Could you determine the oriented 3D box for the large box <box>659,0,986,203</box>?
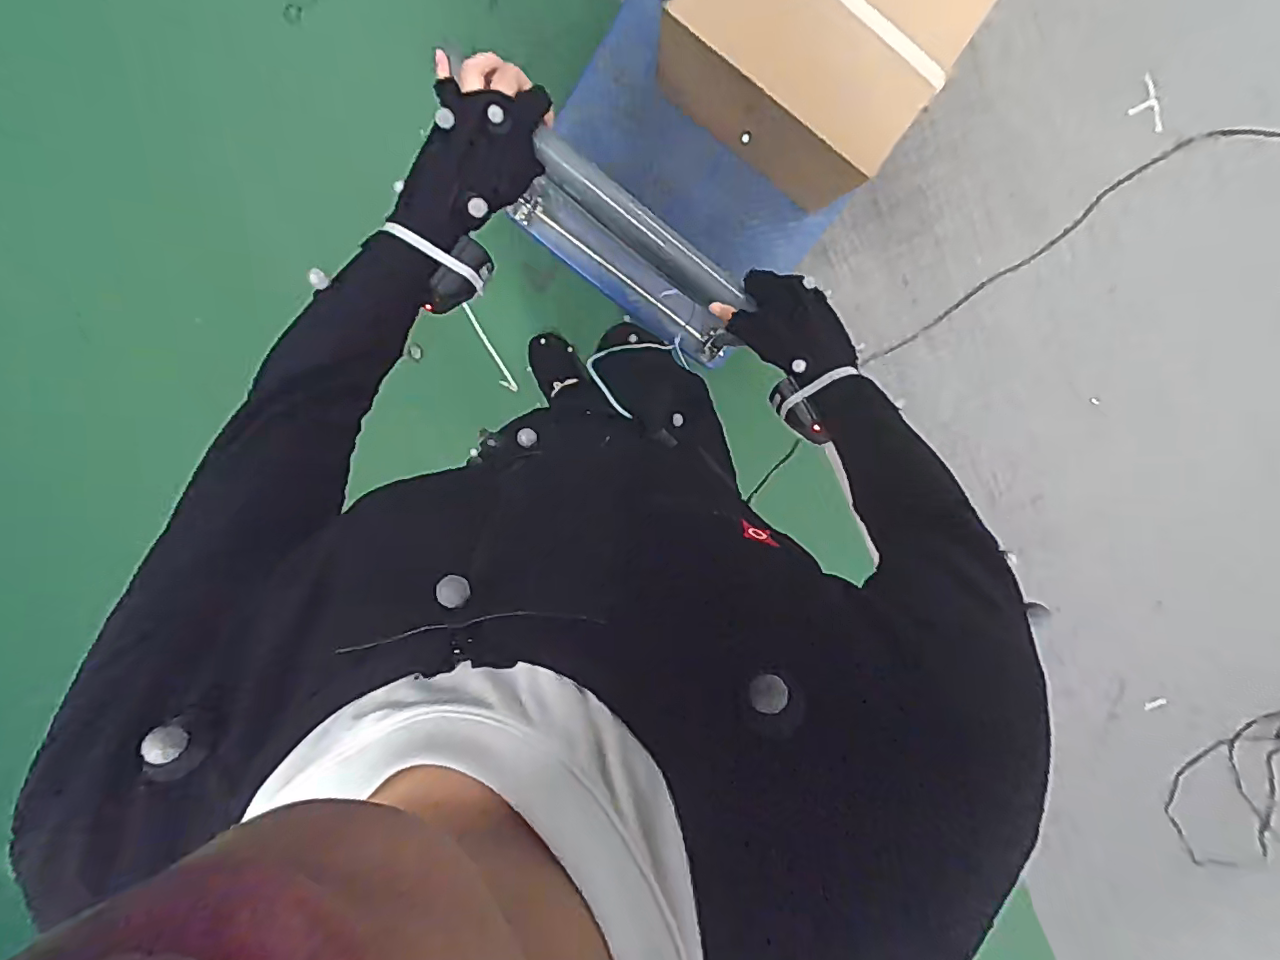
[{"bbox_3d":[0.281,-0.757,0.932,0.408,0.320,0.320,32,103,-9],"label":"large box"}]
